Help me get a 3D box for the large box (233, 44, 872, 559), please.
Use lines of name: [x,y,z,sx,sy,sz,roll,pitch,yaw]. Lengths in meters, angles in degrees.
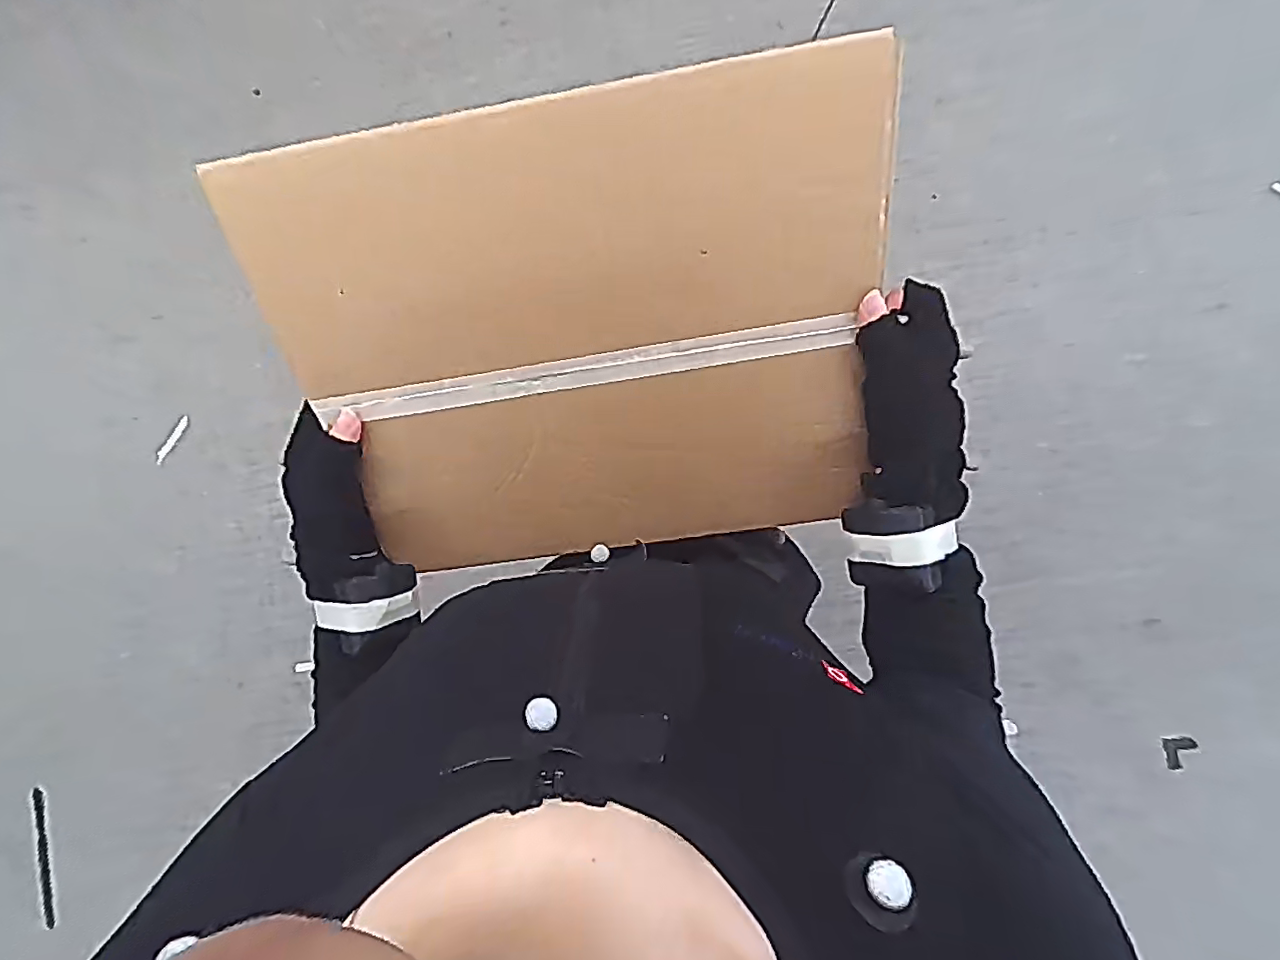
large box: [-0.036,-0.163,0.522,0.408,0.320,0.320,-8,120,5]
